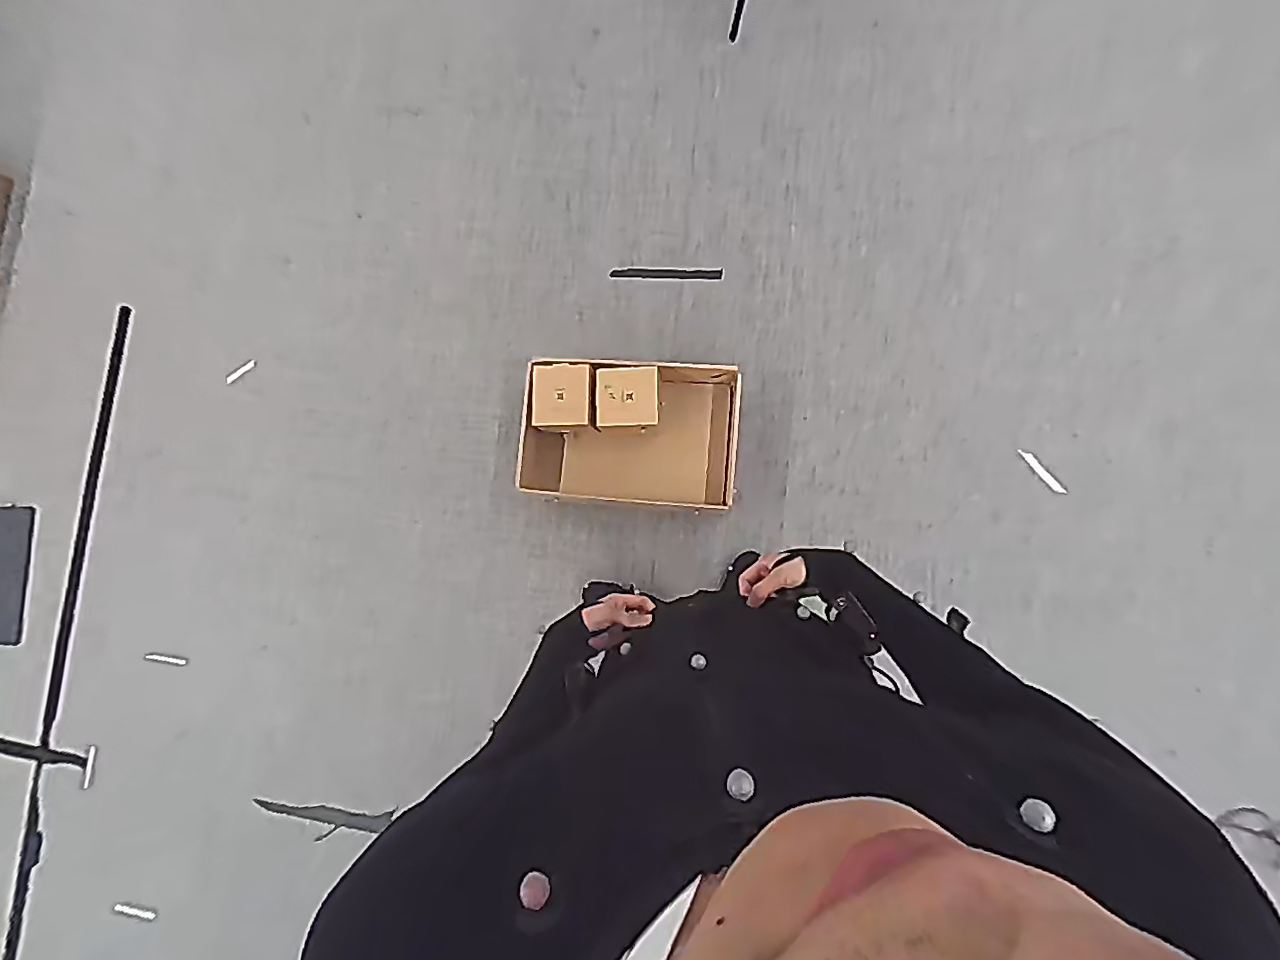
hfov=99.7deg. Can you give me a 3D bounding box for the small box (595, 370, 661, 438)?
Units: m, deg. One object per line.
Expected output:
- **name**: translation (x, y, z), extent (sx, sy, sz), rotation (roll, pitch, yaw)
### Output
- **small box**: translation (-0.029, -0.218, 1.569), extent (0.179, 0.176, 0.168), rotation (0, 85, 6)
